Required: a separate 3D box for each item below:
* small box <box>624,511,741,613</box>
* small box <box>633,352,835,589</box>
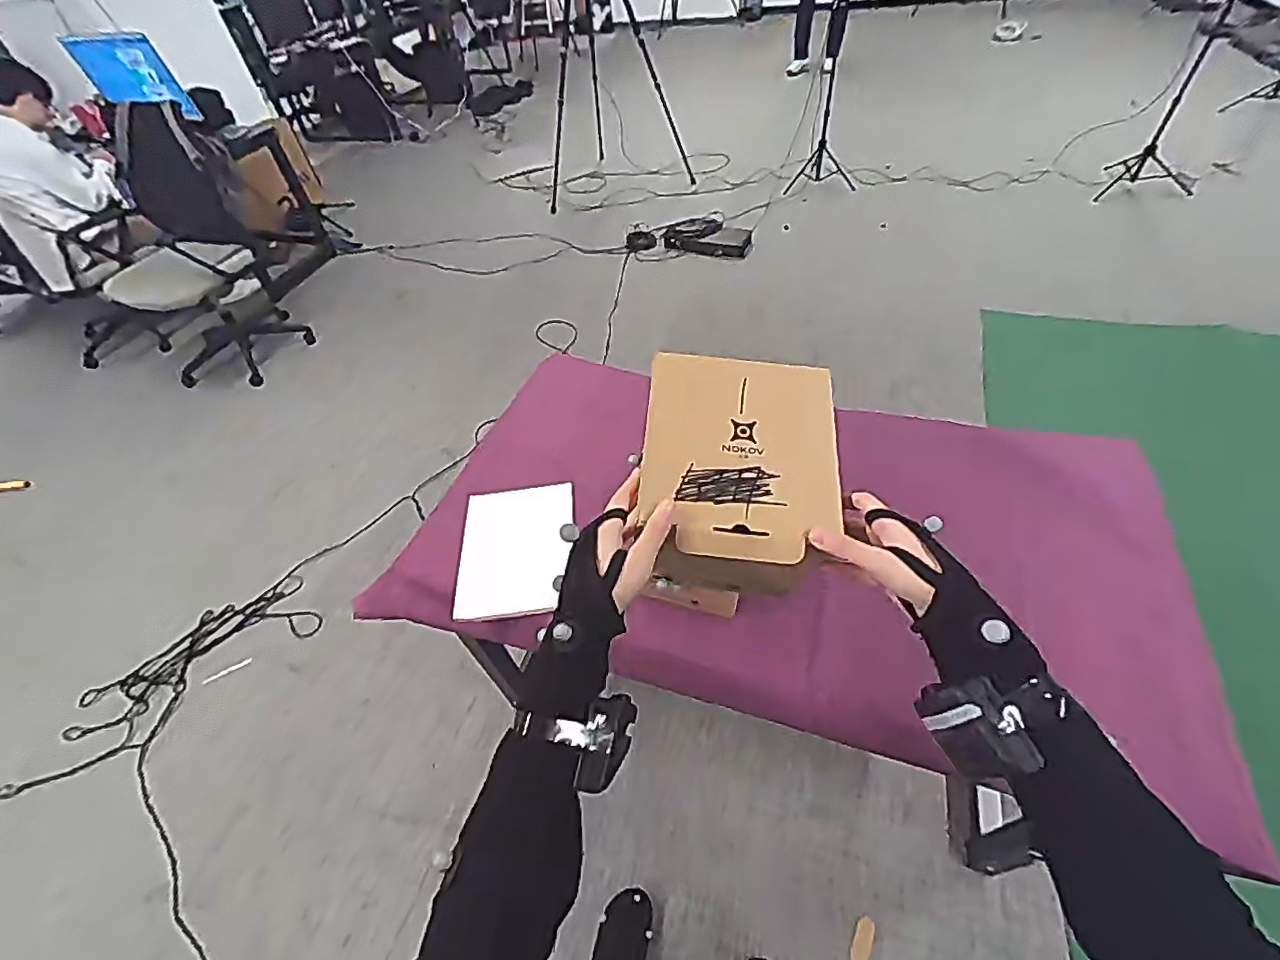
[{"bbox_3d":[0.088,0.084,0.850,0.168,0.176,0.179,12,52,16],"label":"small box"},{"bbox_3d":[0.084,0.000,0.543,0.168,0.176,0.179,6,63,1],"label":"small box"}]
